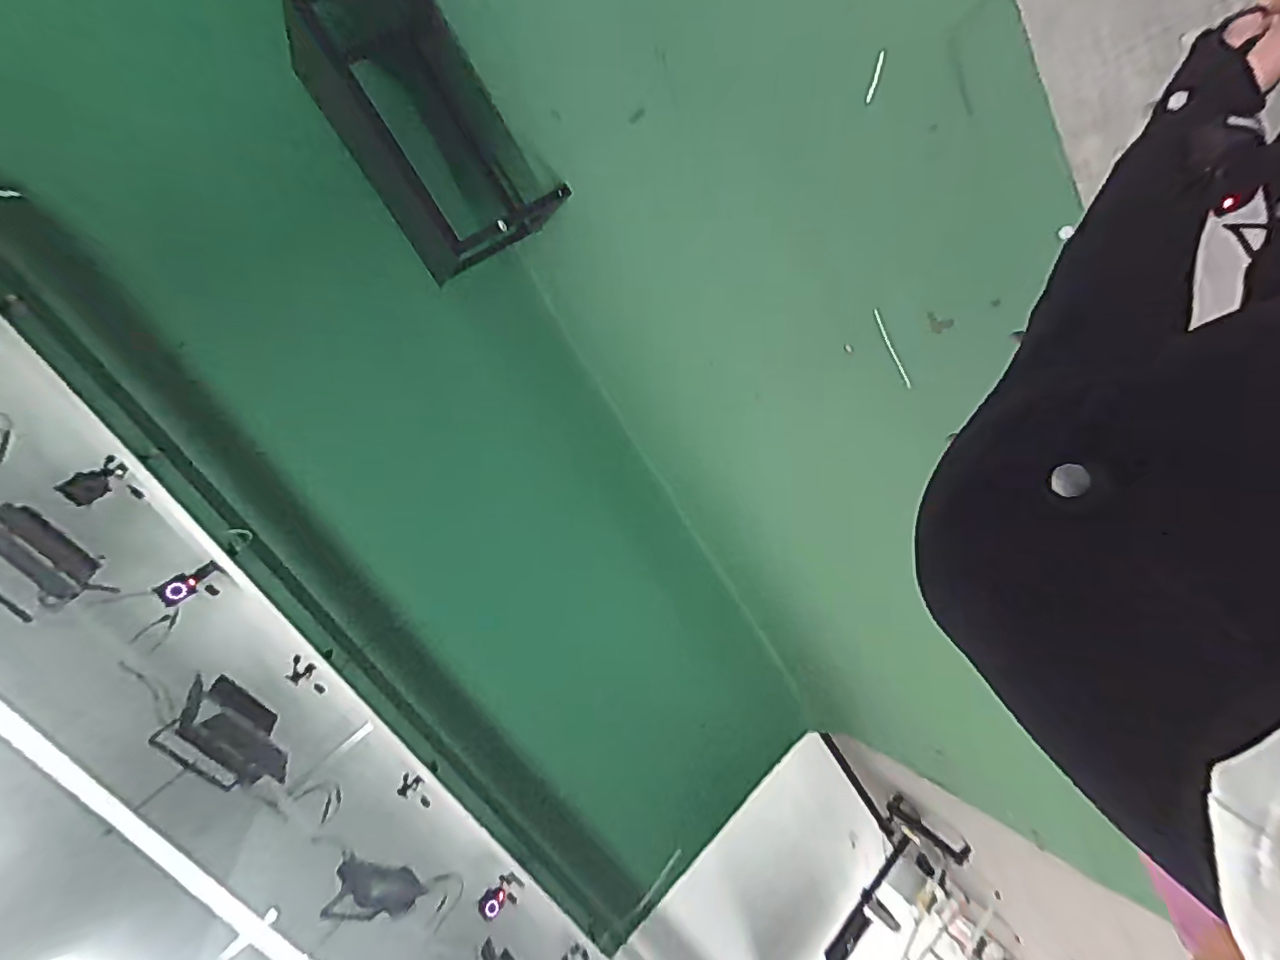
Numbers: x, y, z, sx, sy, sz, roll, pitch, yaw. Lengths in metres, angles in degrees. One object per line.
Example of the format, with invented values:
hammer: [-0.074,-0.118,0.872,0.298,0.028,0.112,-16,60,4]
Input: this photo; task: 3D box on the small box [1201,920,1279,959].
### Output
small box: [1.463,1.203,1.271,0.179,0.176,0.168,57,160,-14]
